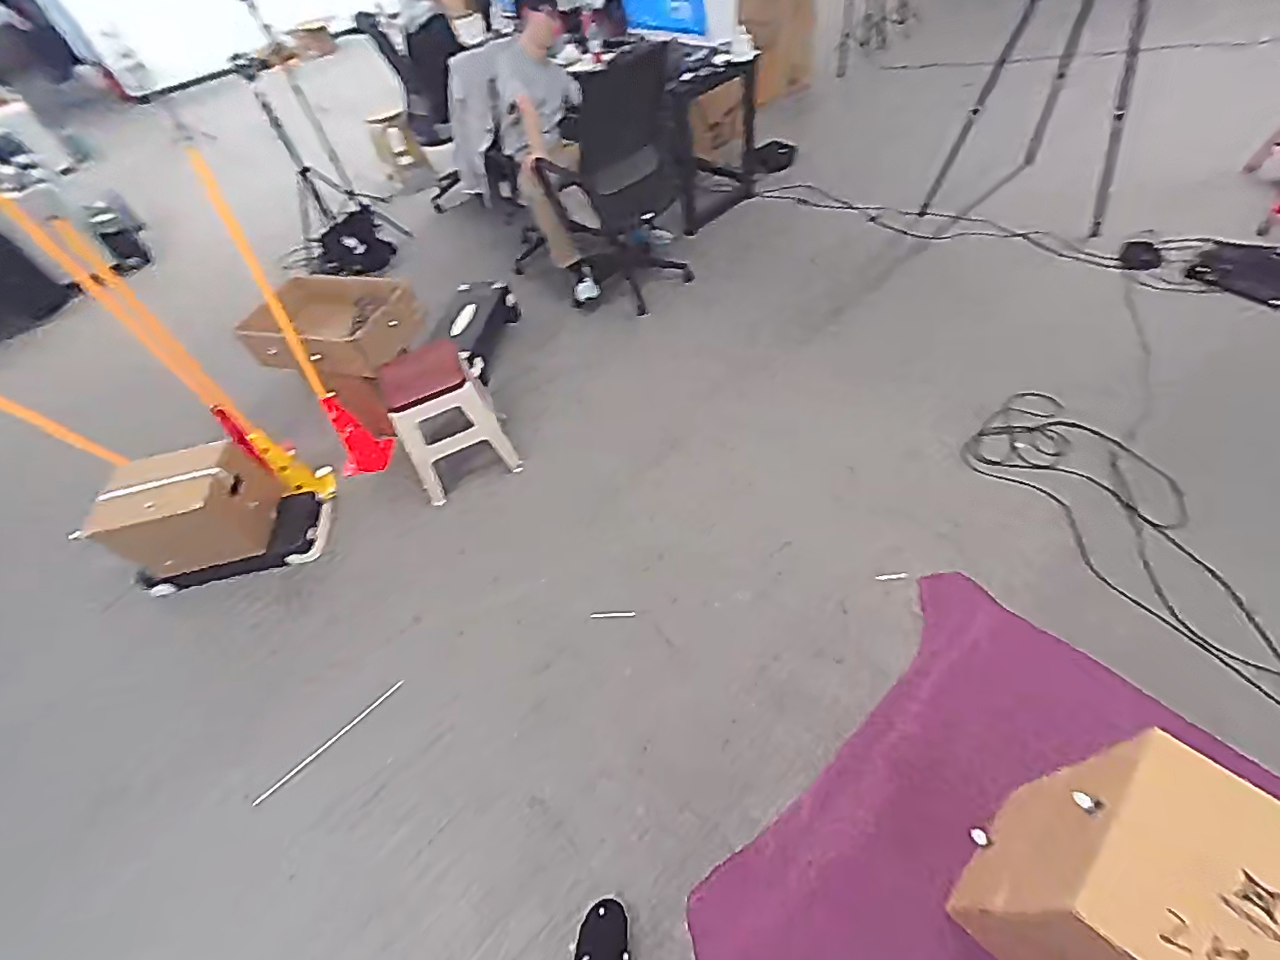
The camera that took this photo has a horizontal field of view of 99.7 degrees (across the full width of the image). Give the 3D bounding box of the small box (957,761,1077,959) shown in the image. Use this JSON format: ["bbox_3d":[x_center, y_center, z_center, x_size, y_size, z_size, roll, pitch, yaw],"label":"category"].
[{"bbox_3d":[0.467,0.443,0.570,0.179,0.176,0.168,-41,55,-21],"label":"small box"}]

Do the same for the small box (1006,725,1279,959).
[{"bbox_3d":[0.442,0.344,0.442,0.179,0.176,0.168,-41,55,-21],"label":"small box"}]
